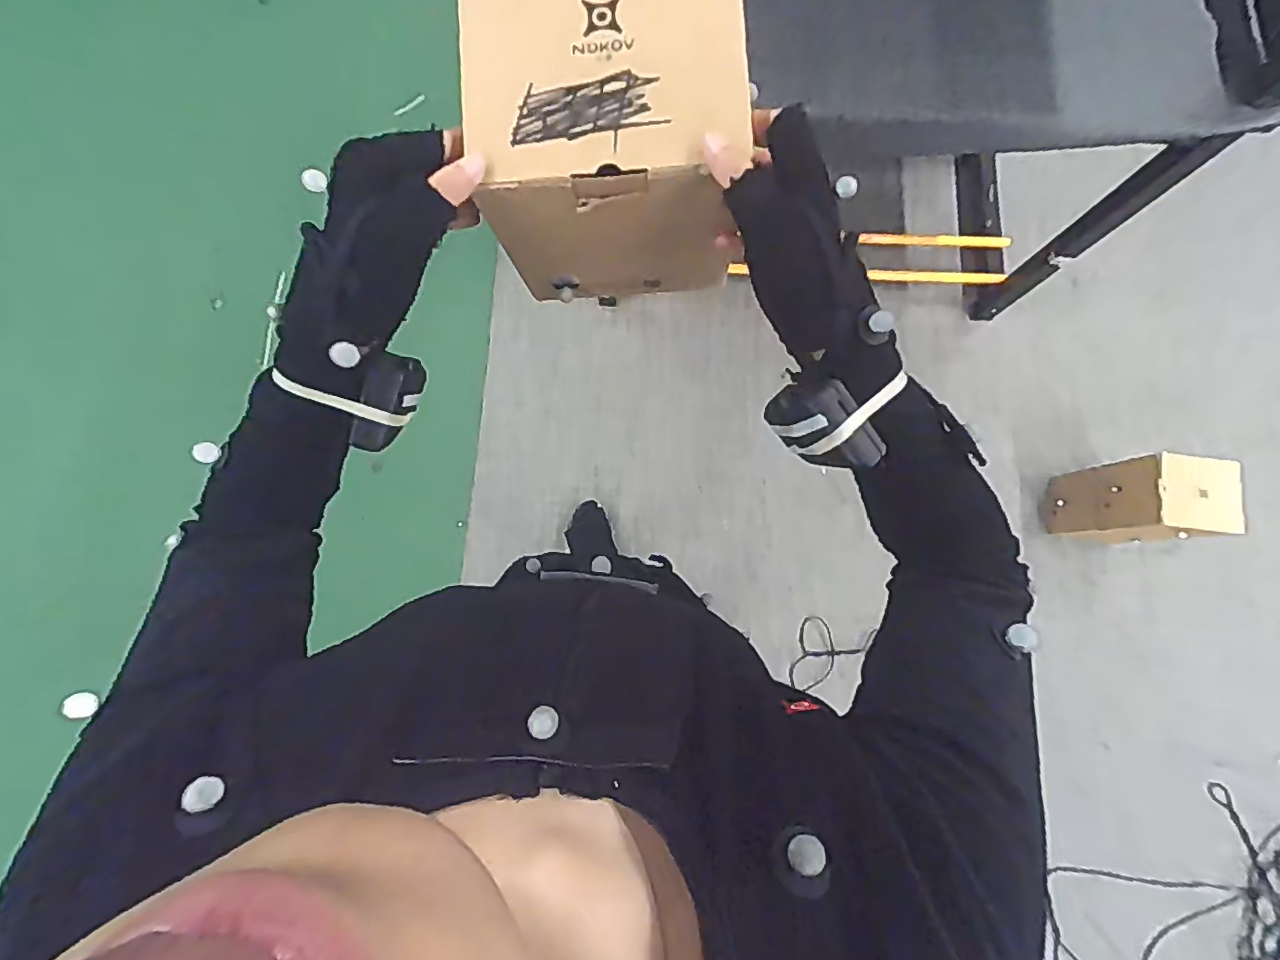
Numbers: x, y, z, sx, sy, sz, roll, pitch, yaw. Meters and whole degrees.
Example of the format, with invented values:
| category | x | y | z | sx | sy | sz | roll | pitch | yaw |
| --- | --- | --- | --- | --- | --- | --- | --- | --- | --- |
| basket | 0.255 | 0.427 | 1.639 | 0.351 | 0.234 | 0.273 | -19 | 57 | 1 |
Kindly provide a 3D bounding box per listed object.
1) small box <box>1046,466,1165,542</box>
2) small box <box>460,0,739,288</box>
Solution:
| category | x | y | z | sx | sy | sz | roll | pitch | yaw |
| --- | --- | --- | --- | --- | --- | --- | --- | --- | --- |
| small box | 1.227 | 0.070 | 1.431 | 0.179 | 0.176 | 0.168 | 8 | 80 | 2 |
| small box | -0.021 | -0.256 | 0.400 | 0.168 | 0.176 | 0.179 | -3 | 85 | 3 |
